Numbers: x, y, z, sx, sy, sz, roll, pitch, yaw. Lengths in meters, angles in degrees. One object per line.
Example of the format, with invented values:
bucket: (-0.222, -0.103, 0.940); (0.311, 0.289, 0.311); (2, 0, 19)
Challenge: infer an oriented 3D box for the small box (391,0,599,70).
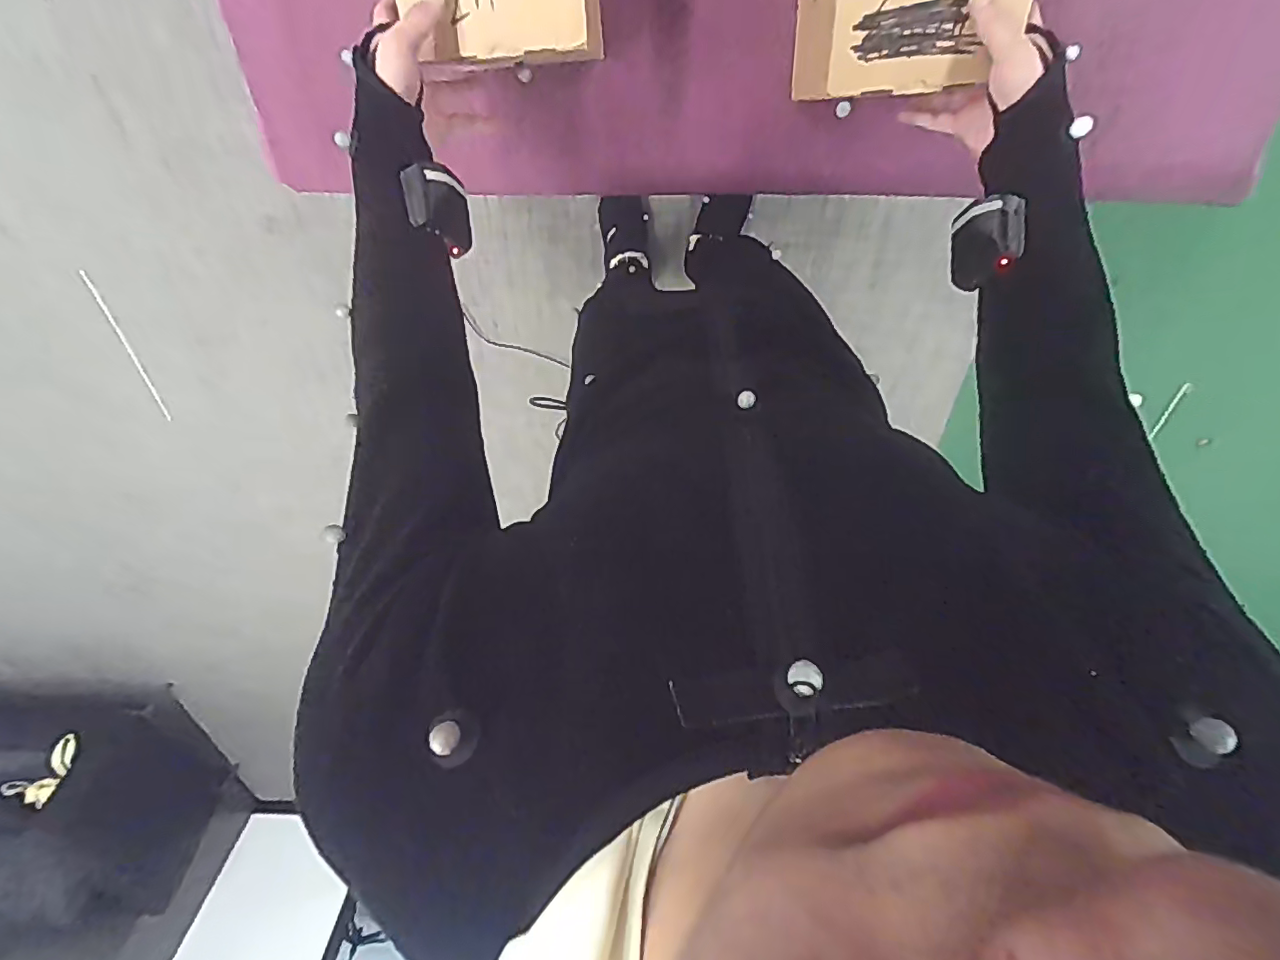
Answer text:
small box: (-0.131, -0.493, 0.496); (0.168, 0.176, 0.179); (-2, 126, 3)

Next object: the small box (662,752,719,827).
small box: (0.177, 1.100, 1.922); (0.168, 0.176, 0.179); (10, 126, -4)
